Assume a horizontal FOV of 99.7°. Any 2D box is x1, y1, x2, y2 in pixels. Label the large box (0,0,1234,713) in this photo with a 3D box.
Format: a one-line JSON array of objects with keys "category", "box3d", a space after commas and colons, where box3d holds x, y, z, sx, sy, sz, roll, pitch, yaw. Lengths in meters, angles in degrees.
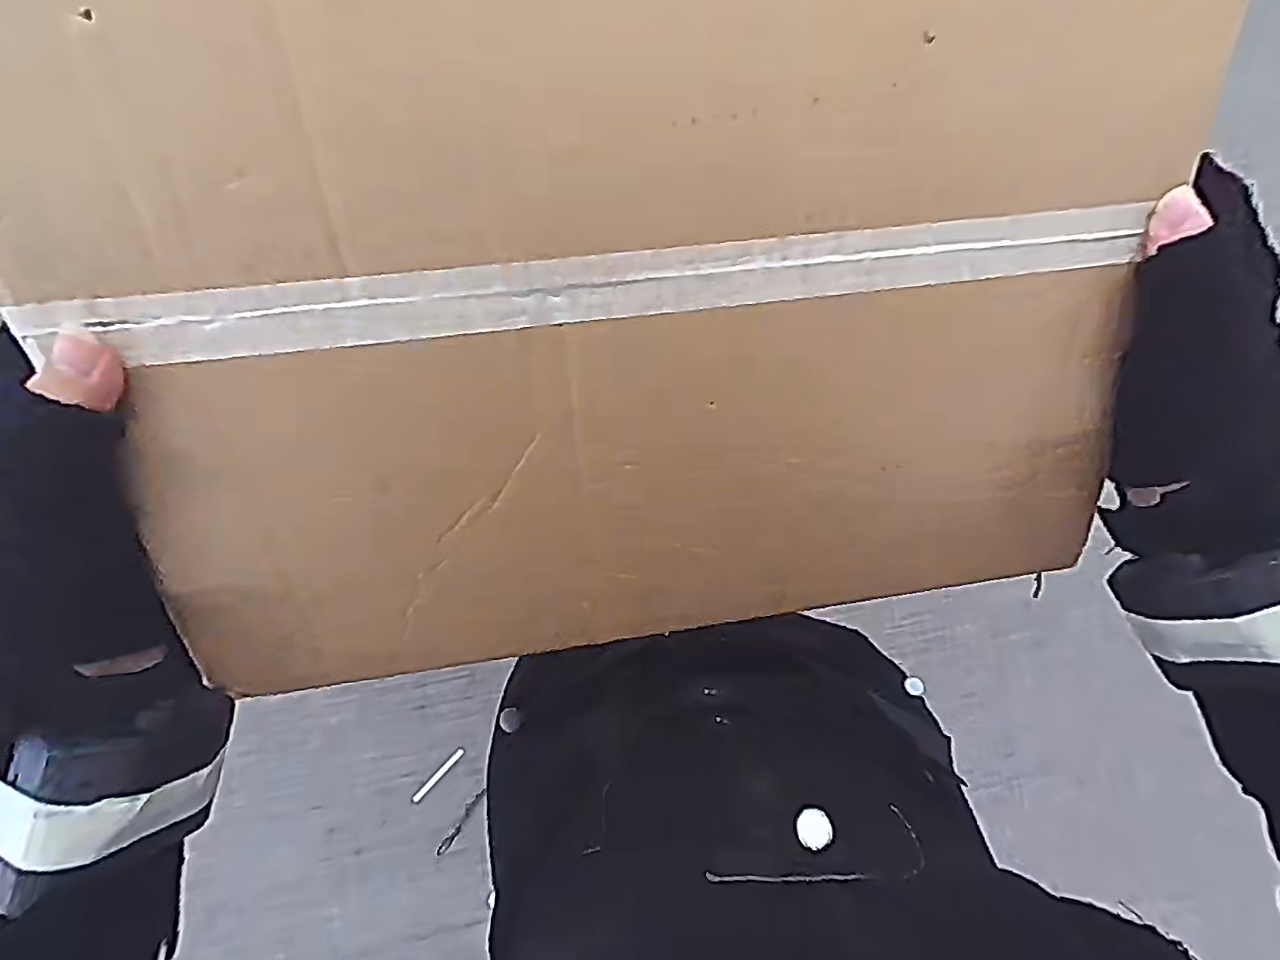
[{"category": "large box", "box3d": [-0.011, -0.119, 0.335, 0.408, 0.320, 0.320, -8, 115, -6]}]
